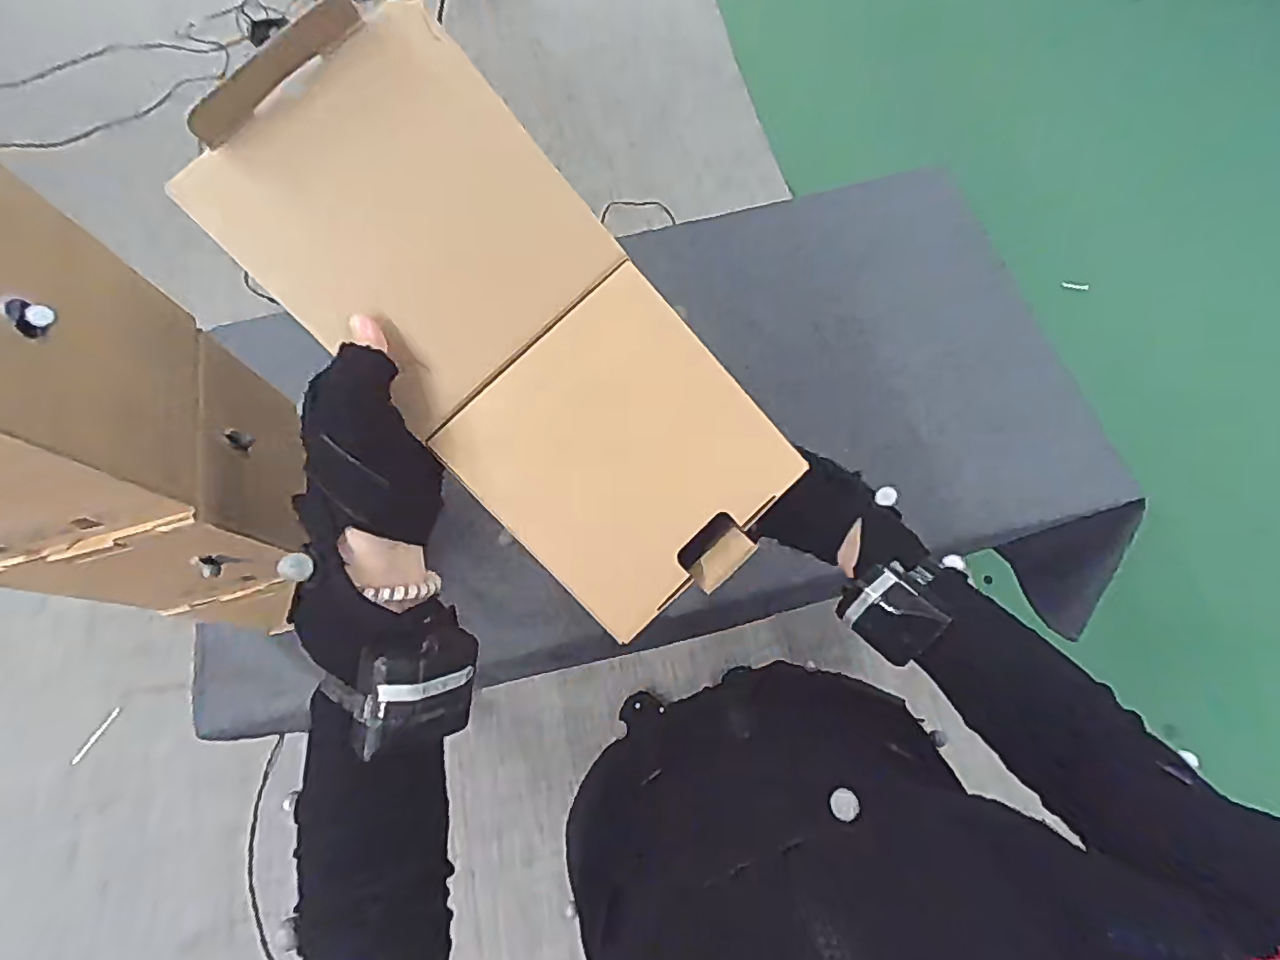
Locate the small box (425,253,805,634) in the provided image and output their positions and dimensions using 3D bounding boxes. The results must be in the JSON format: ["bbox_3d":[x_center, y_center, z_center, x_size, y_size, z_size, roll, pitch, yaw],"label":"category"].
[{"bbox_3d":[-0.021,-0.024,0.405,0.168,0.176,0.179,-43,98,-3],"label":"small box"}]

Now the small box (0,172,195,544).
[{"bbox_3d":[-0.422,-0.067,0.336,0.168,0.176,0.179,-16,69,-5],"label":"small box"}]

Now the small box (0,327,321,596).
[{"bbox_3d":[-0.414,-0.002,0.487,0.168,0.176,0.179,-14,69,-4],"label":"small box"}]

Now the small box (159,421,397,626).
[{"bbox_3d":[-0.409,0.060,0.637,0.168,0.176,0.179,-15,70,-3],"label":"small box"}]
